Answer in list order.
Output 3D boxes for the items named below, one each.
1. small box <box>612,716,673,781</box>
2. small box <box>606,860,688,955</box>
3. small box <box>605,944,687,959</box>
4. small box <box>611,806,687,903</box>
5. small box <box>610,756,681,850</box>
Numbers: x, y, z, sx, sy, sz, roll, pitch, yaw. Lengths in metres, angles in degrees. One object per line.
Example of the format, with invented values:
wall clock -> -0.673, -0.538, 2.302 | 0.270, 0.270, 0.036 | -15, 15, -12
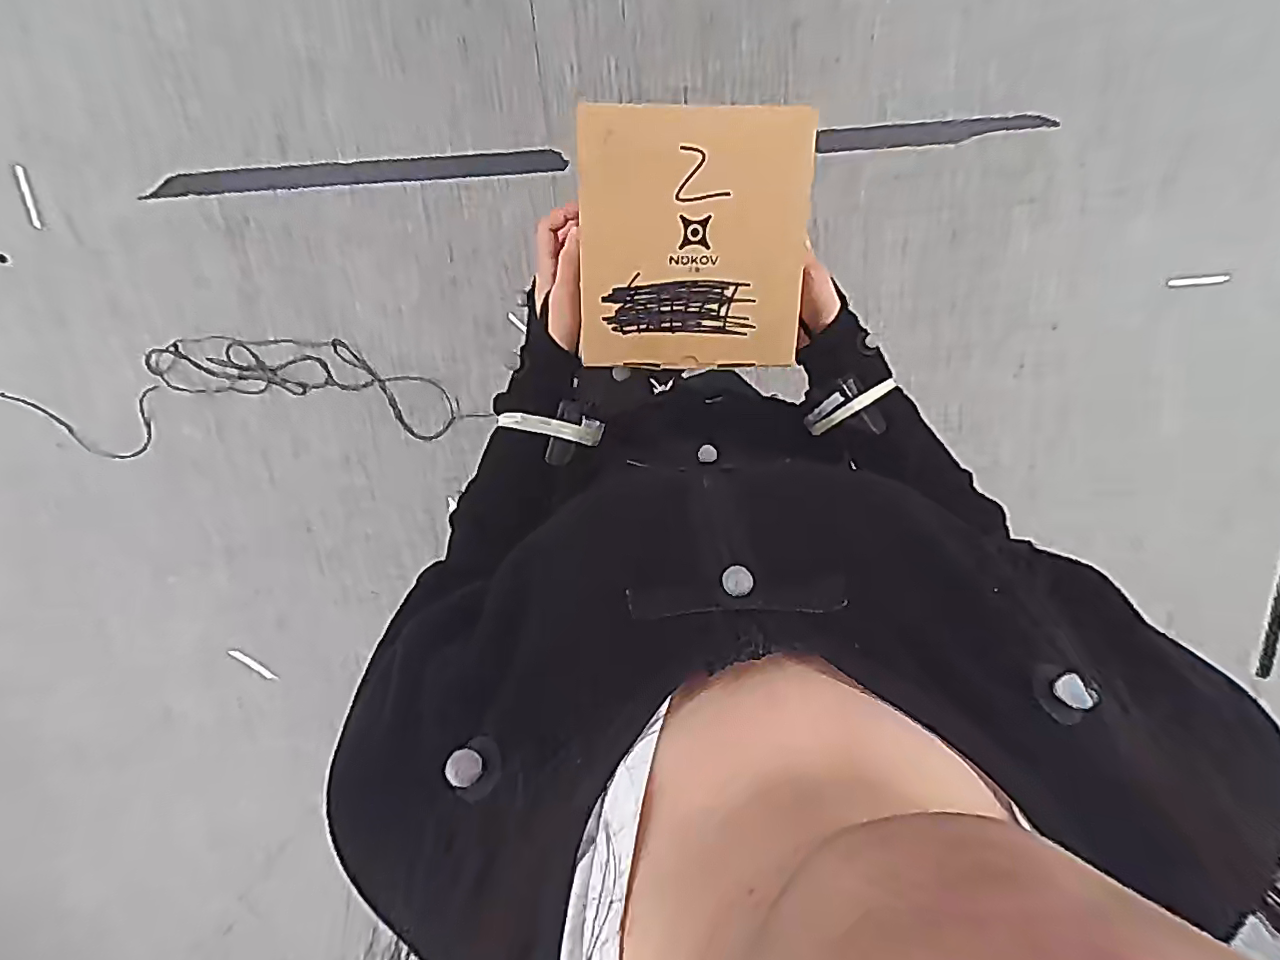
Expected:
small box -> 0.005, 0.847, 1.660 | 0.179, 0.176, 0.168 | 2, 104, -2
small box -> 0.010, 0.982, 1.188 | 0.168, 0.176, 0.179 | 2, 103, -3
small box -> 0.015, 1.031, 1.031 | 0.168, 0.176, 0.179 | 0, 103, -2
small box -> 0.017, 0.944, 1.348 | 0.179, 0.176, 0.168 | 2, 103, -2
small box -> 0.011, 0.896, 1.503 | 0.179, 0.176, 0.168 | 5, 104, -3
